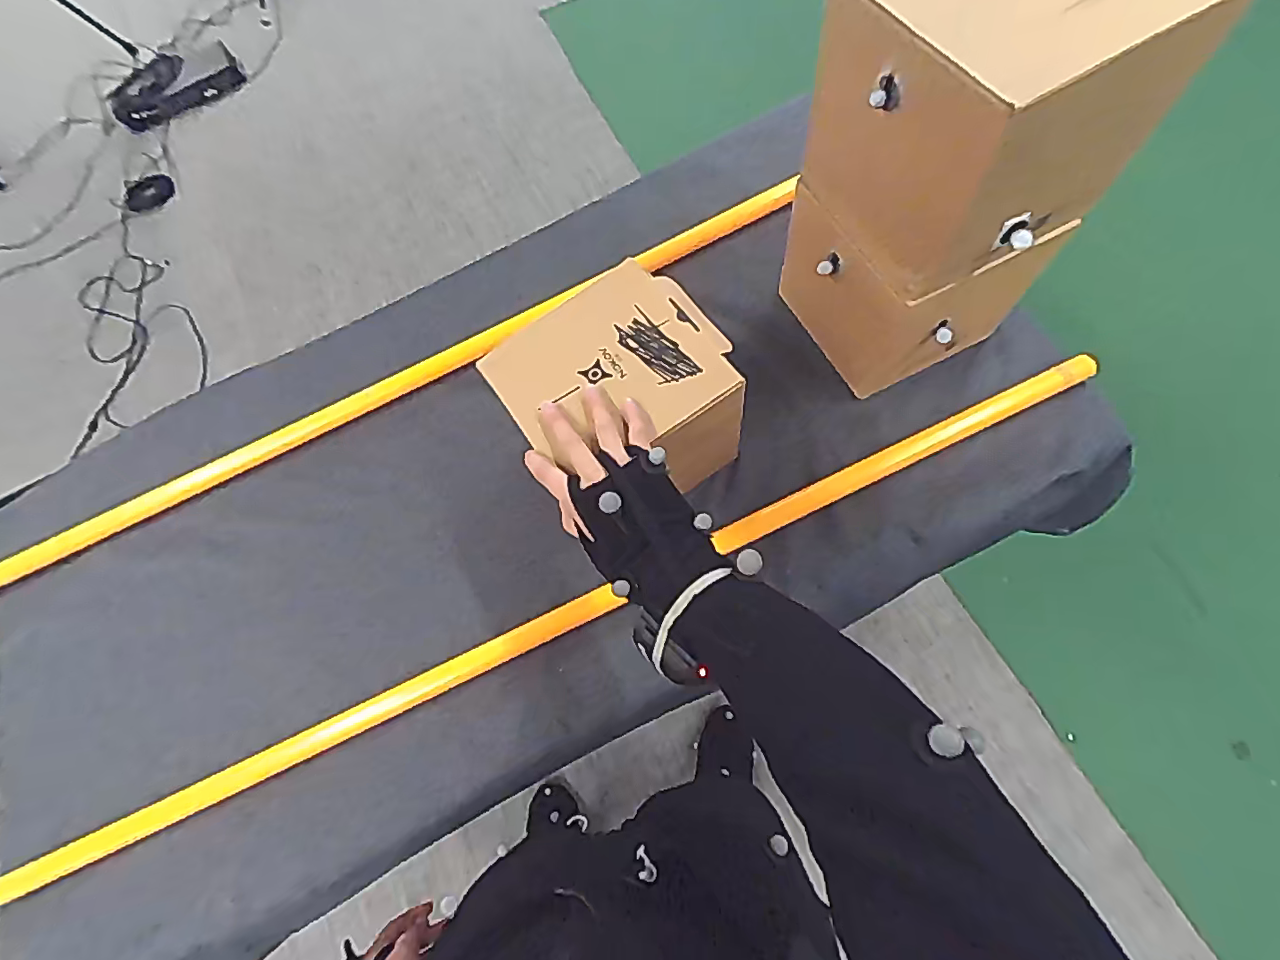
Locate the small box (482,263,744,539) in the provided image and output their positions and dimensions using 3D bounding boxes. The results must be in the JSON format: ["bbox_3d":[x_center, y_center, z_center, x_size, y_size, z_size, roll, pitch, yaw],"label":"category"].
[{"bbox_3d":[-0.018,-0.067,0.537,0.179,0.176,0.168,-35,69,-4],"label":"small box"}]

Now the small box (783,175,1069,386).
[{"bbox_3d":[0.265,-0.220,0.555,0.168,0.176,0.179,-27,68,-1],"label":"small box"}]

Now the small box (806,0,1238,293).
[{"bbox_3d":[0.245,-0.281,0.405,0.168,0.176,0.179,-29,68,-1],"label":"small box"}]
